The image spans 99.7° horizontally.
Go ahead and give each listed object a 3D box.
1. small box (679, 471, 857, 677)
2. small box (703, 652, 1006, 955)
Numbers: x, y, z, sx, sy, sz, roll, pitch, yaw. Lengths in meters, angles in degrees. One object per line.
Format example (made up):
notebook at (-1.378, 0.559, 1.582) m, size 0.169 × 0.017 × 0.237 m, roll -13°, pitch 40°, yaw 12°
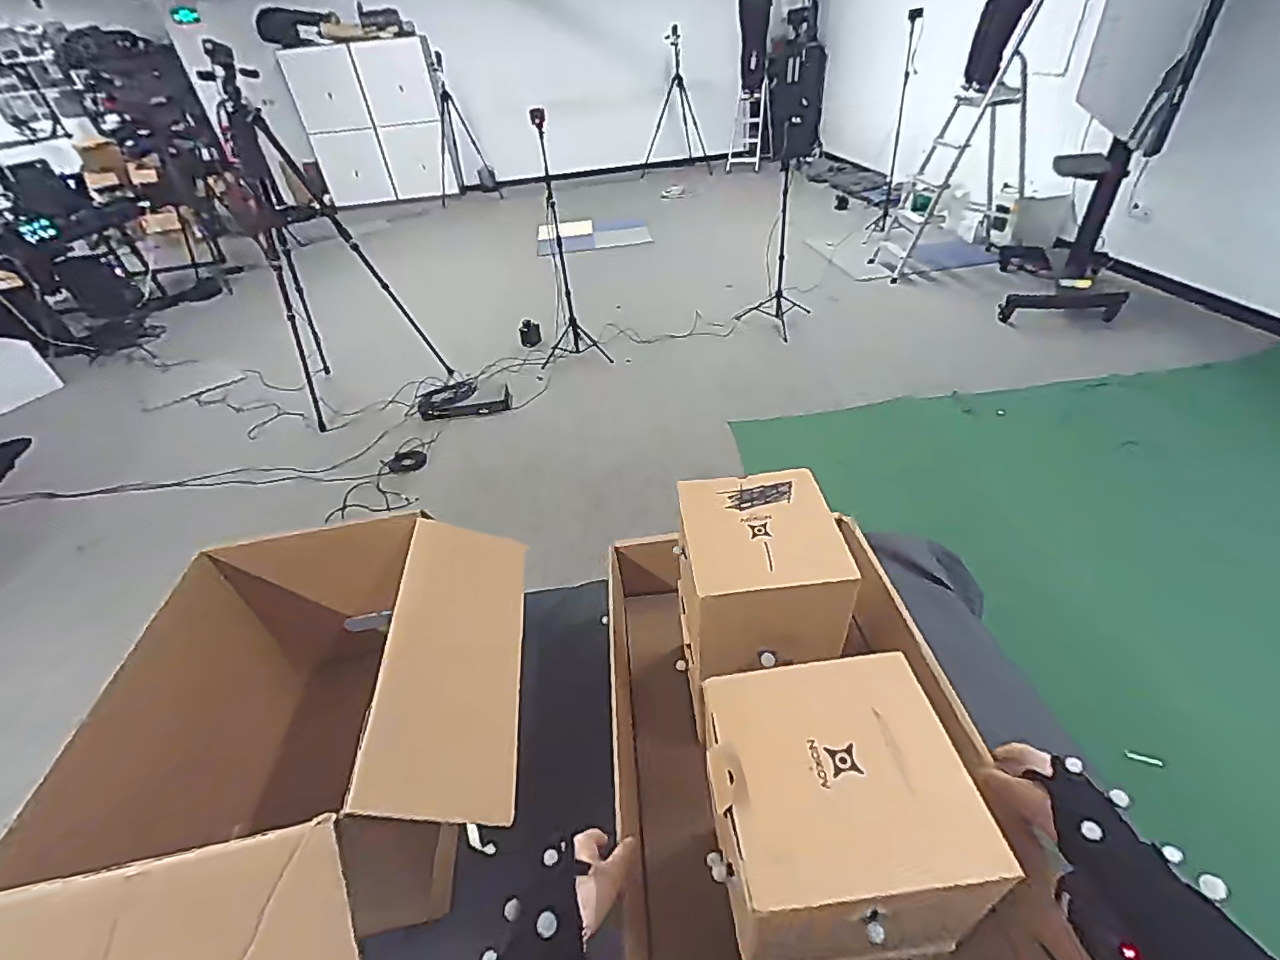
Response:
small box at (0.137, 0.112, 0.655) m, size 0.168 × 0.176 × 0.179 m, roll -6°, pitch 42°, yaw 0°
small box at (0.156, 0.275, 0.462) m, size 0.179 × 0.176 × 0.168 m, roll -8°, pitch 40°, yaw -2°
